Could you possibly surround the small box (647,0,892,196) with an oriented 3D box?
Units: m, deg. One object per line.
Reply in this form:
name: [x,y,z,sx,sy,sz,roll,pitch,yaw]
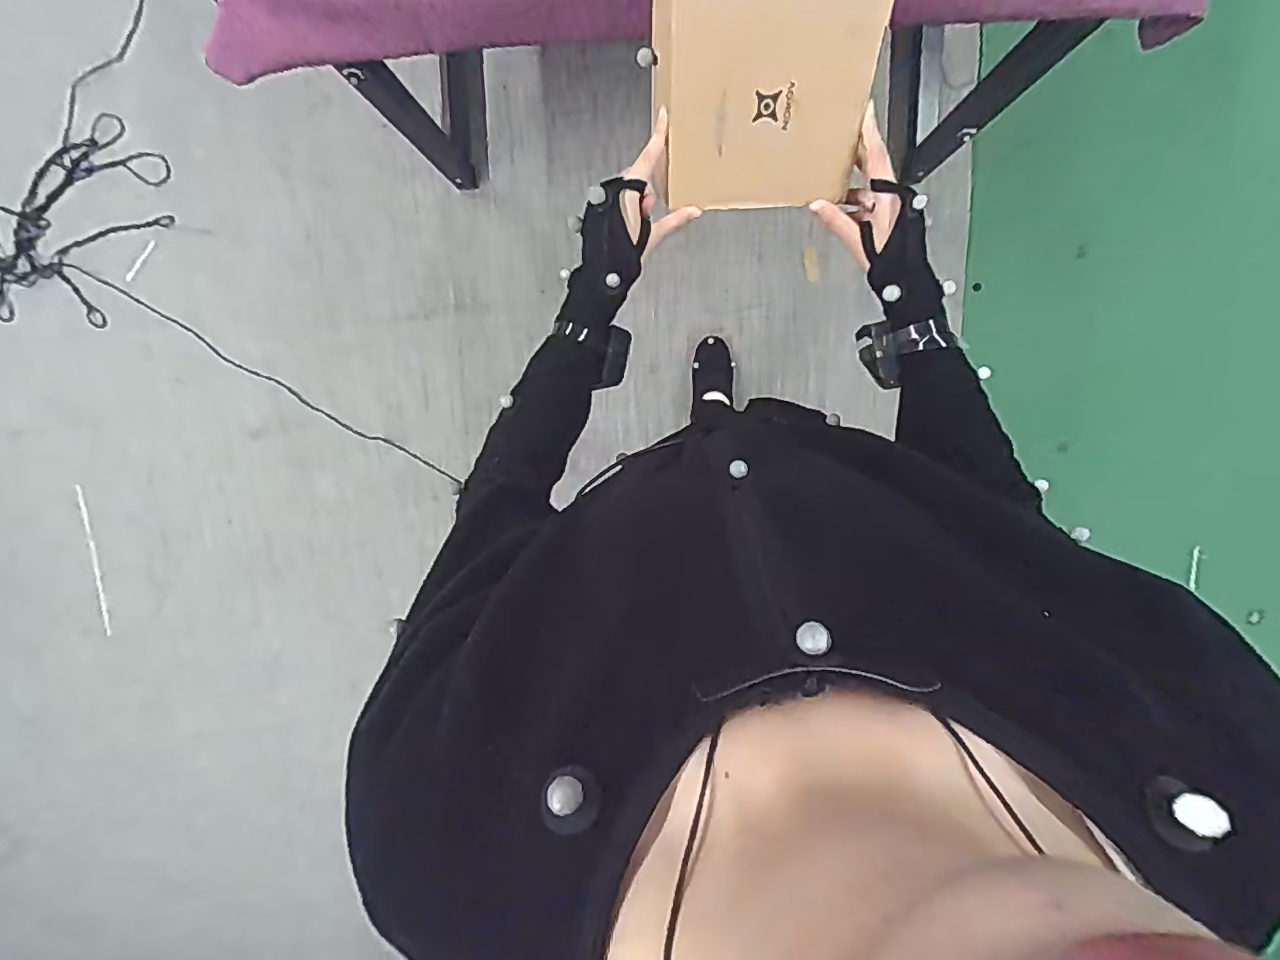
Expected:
small box: [0.101,-0.382,0.504,0.179,0.176,0.168,-3,135,-2]
